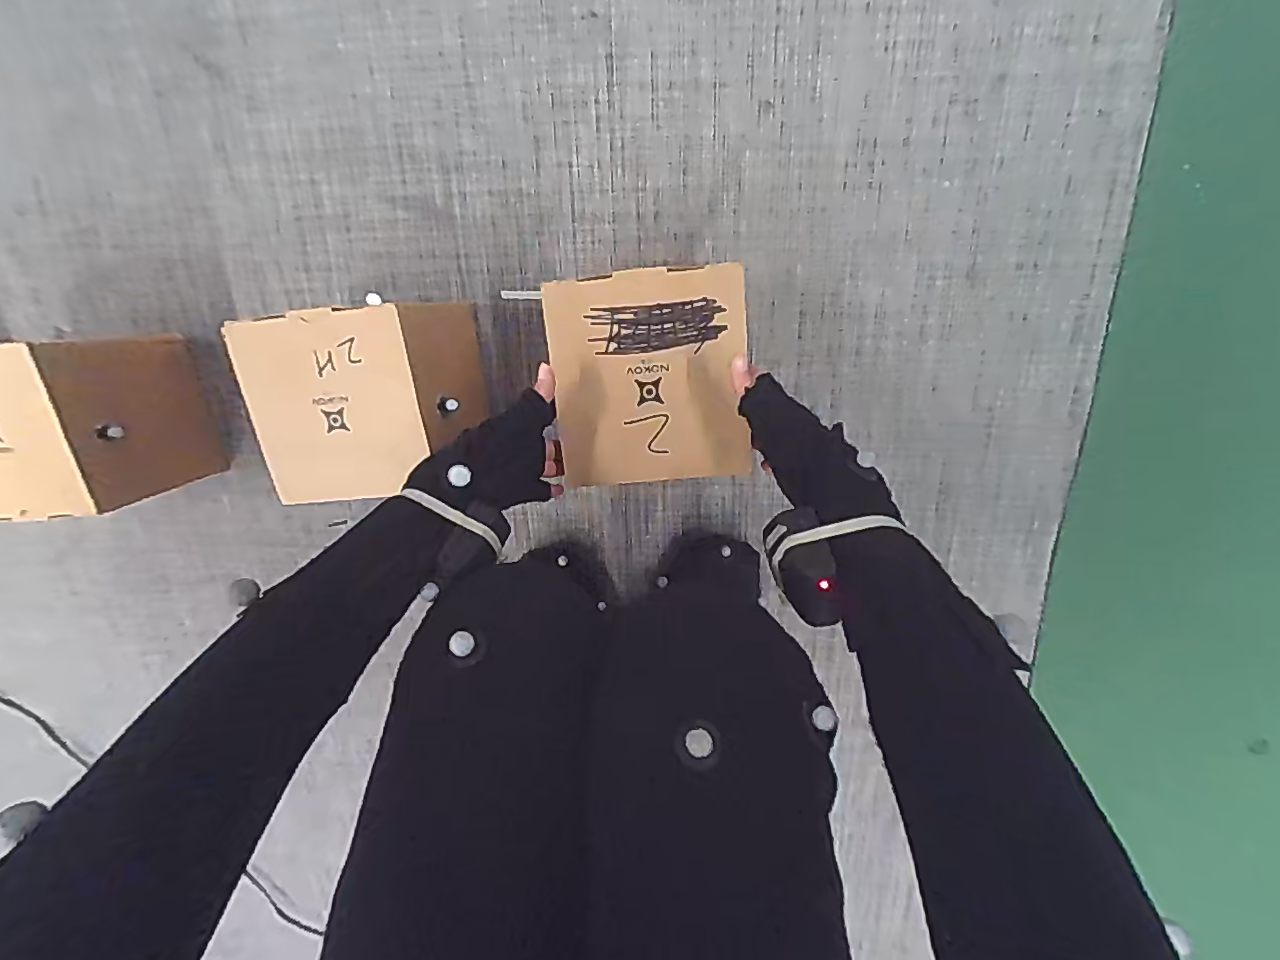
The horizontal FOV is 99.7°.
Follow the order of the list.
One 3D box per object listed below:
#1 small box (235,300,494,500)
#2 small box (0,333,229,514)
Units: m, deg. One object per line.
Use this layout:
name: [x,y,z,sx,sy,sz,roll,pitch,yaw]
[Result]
small box: [-0.270,-0.093,0.580,0.168,0.176,0.179,-5,108,5]
small box: [-0.627,-0.073,0.617,0.168,0.176,0.179,-3,109,6]
